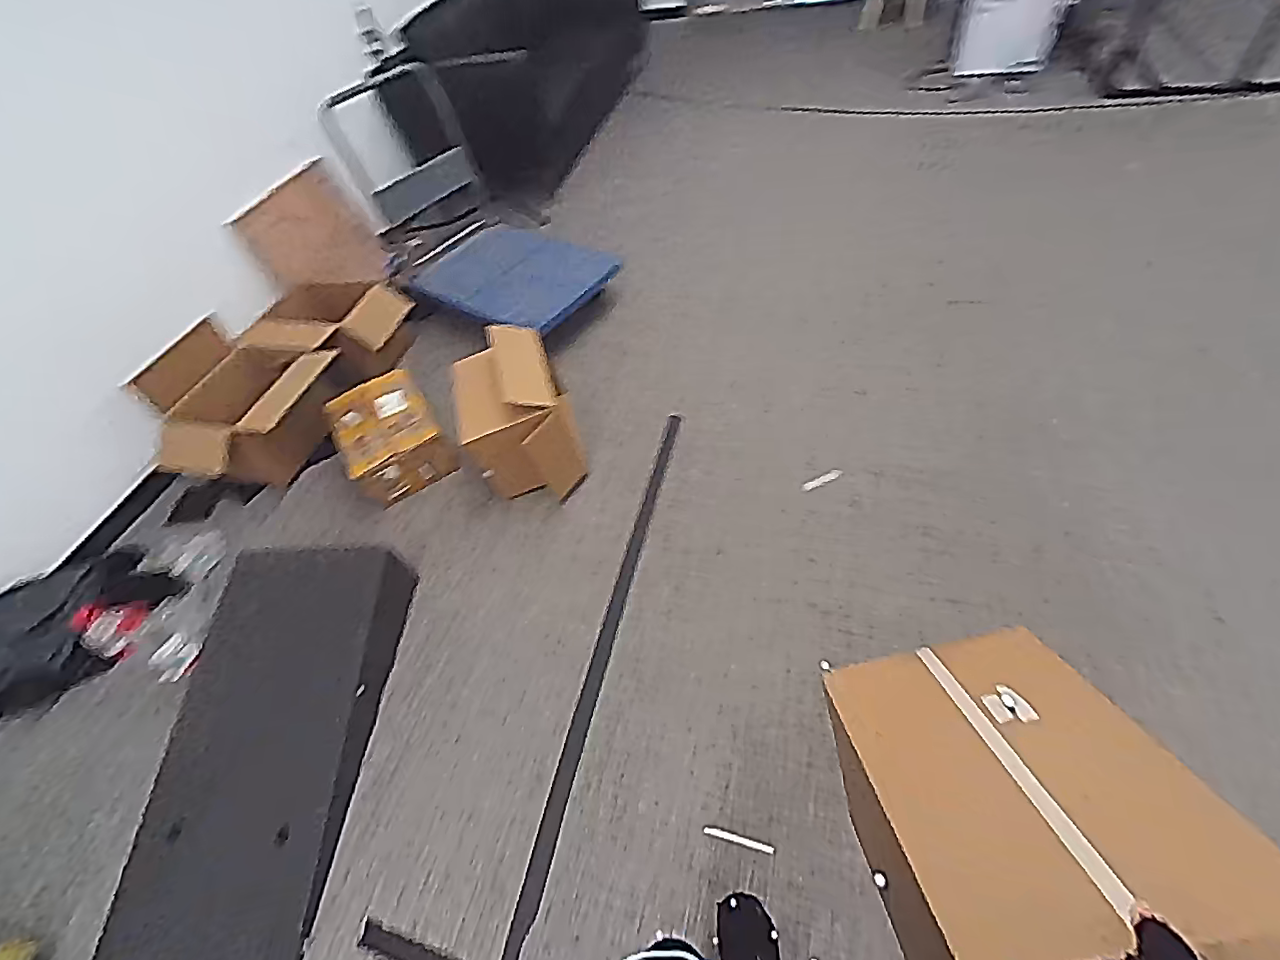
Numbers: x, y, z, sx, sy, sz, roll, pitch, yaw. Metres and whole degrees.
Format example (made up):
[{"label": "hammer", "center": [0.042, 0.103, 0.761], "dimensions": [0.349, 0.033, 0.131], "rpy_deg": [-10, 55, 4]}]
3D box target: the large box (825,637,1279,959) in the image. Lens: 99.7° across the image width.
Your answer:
[{"label": "large box", "center": [0.475, 0.475, 0.693], "dimensions": [0.320, 0.320, 0.408], "rpy_deg": [-13, 18, 4]}]
